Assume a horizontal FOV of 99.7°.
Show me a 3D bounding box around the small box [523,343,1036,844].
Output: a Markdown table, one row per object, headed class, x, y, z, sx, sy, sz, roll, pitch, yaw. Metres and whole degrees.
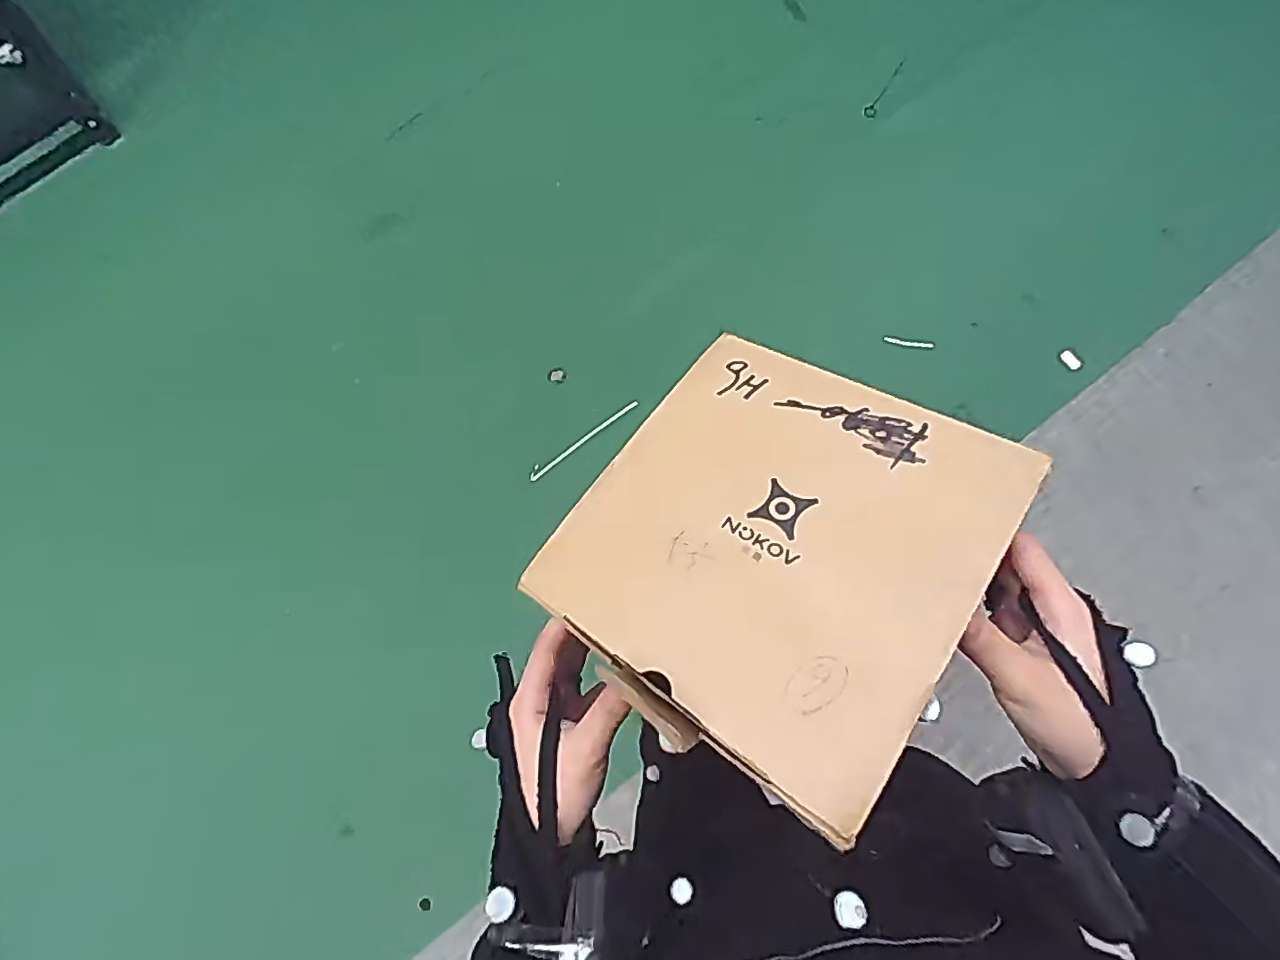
| class | x | y | z | sx | sy | sz | roll | pitch | yaw |
| --- | --- | --- | --- | --- | --- | --- | --- | --- | --- |
| small box | 0.074 | 0.063 | 0.309 | 0.168 | 0.176 | 0.179 | 30 | 72 | 27 |
